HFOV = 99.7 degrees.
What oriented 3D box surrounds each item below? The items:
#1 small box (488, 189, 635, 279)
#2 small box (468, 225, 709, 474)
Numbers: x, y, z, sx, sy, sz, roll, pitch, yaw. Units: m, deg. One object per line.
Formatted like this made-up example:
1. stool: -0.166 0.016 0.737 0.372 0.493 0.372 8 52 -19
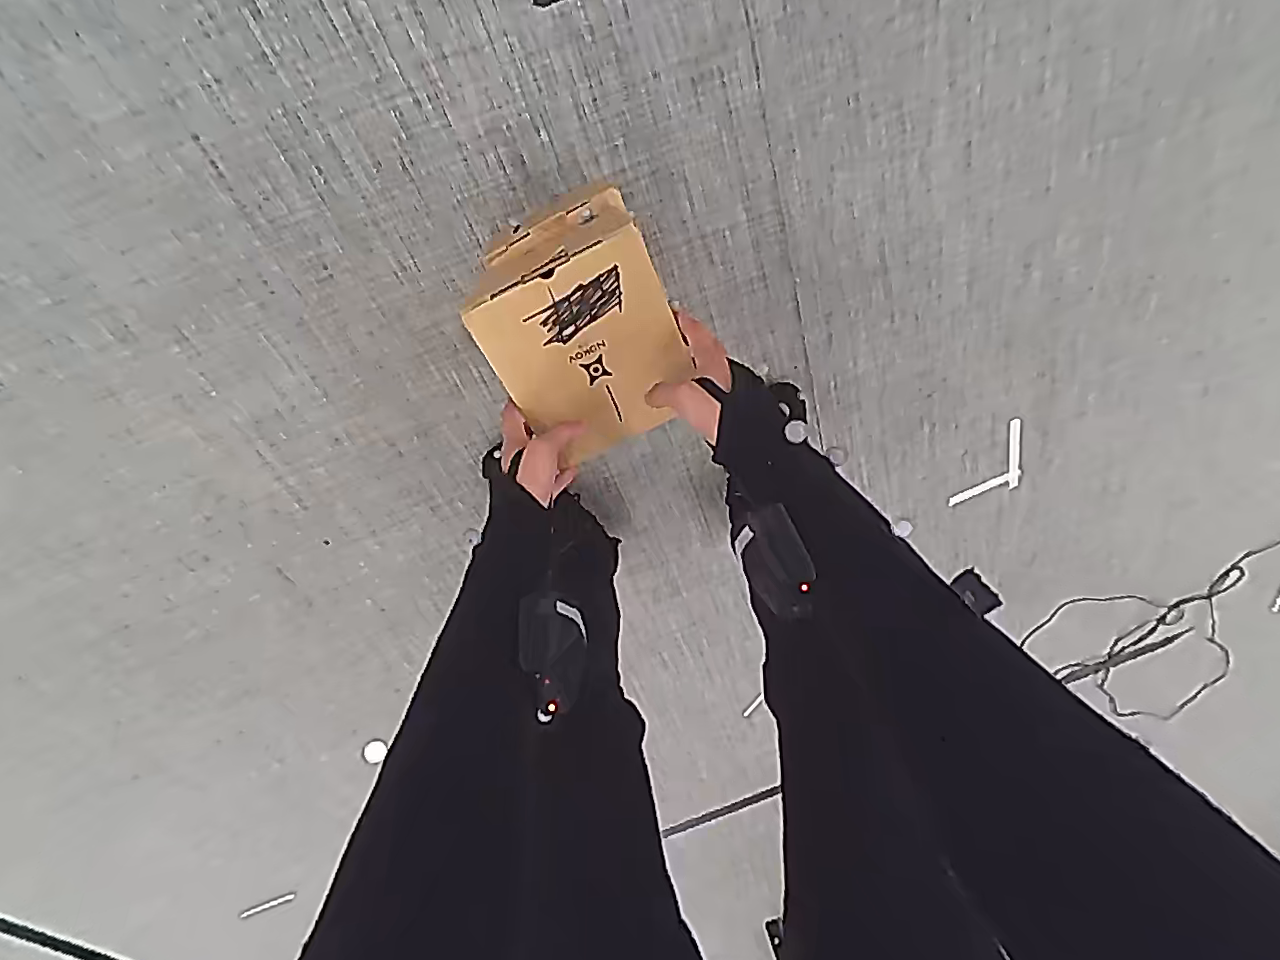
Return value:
1. small box: -0.075 -0.246 0.688 0.168 0.176 0.179 -26 123 5
2. small box: -0.050 -0.143 0.555 0.168 0.176 0.179 -24 122 7
